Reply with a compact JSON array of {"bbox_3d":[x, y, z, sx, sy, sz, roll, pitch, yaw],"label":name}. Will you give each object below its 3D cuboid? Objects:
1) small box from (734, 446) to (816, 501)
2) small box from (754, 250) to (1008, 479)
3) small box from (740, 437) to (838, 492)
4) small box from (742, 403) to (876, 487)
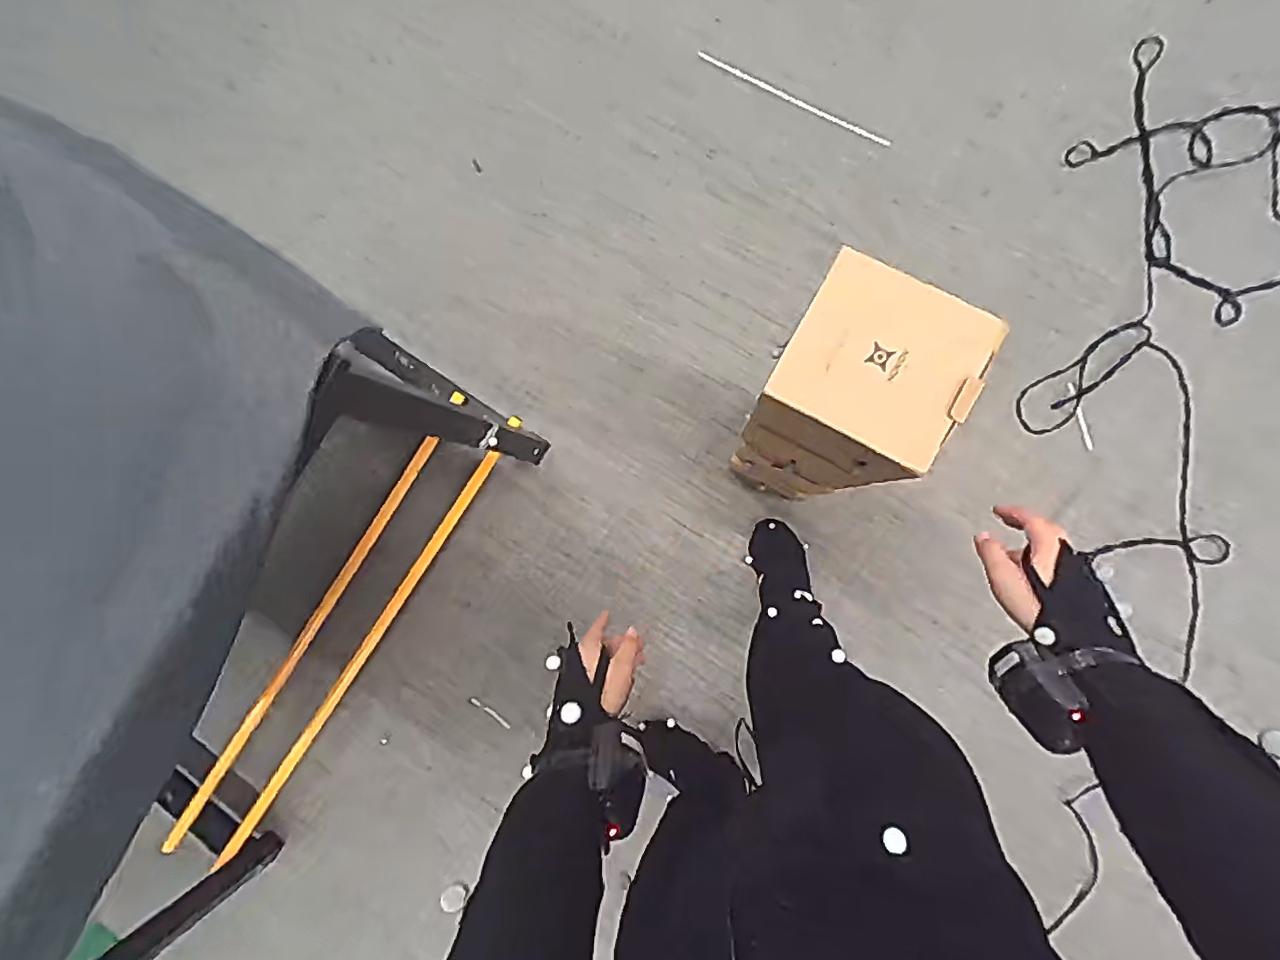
[{"bbox_3d":[0.296,-0.070,1.084,0.168,0.176,0.179,28,91,9],"label":"small box"},{"bbox_3d":[0.244,-0.111,0.598,0.179,0.176,0.168,29,90,9],"label":"small box"},{"bbox_3d":[0.282,-0.089,0.922,0.168,0.176,0.179,29,90,8],"label":"small box"},{"bbox_3d":[0.261,-0.102,0.759,0.179,0.176,0.168,29,90,7],"label":"small box"}]
